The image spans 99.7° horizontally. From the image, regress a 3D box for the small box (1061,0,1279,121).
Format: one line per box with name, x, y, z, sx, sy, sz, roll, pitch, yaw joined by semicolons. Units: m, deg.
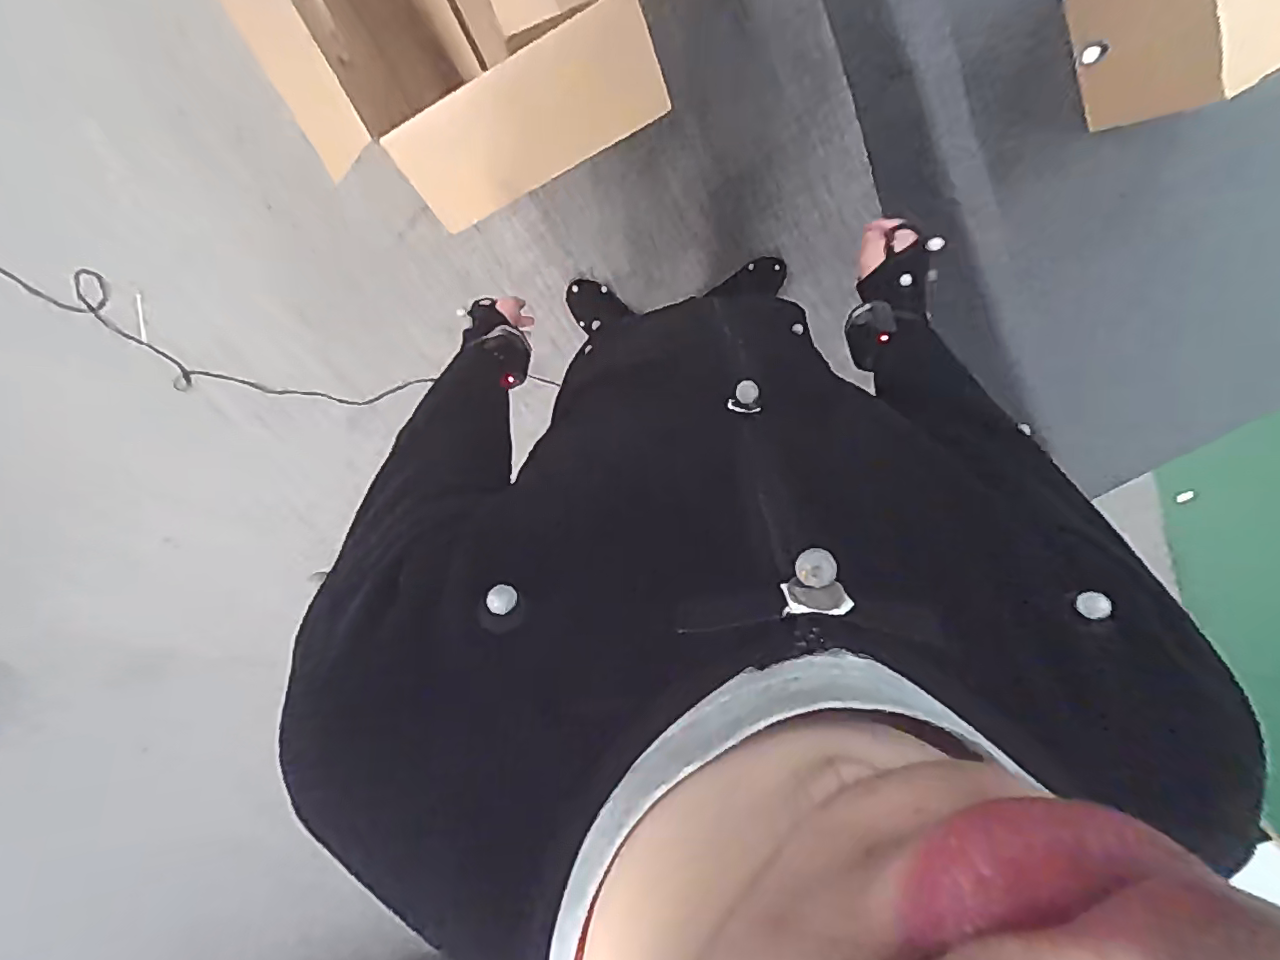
small box;0.576;-0.498;0.546;0.168;0.176;0.179;-29;112;10
